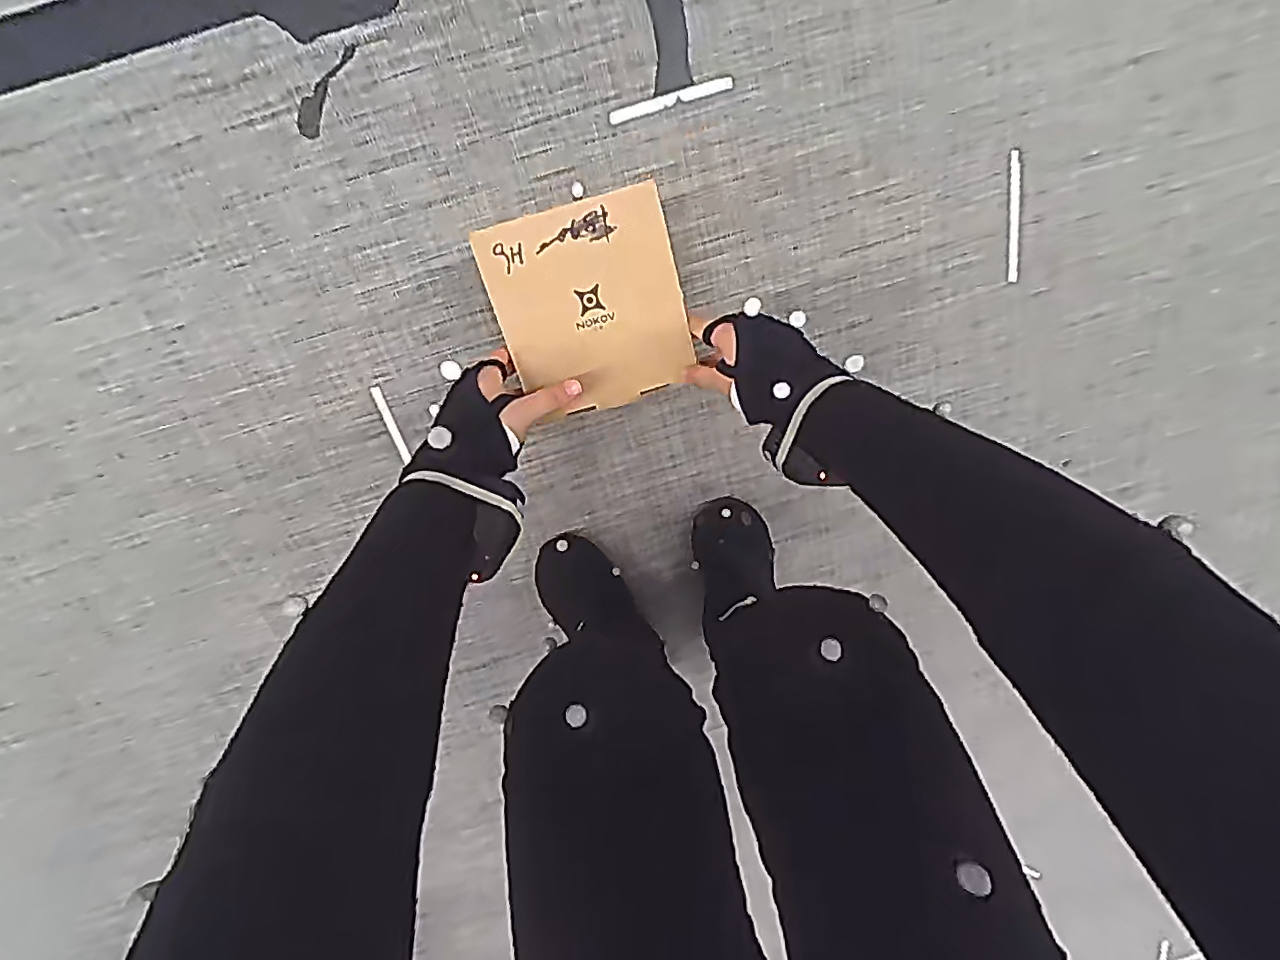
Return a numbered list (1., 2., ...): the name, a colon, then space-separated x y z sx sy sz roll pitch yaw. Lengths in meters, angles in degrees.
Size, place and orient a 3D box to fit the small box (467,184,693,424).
1. small box: -0.054 -0.180 0.551 0.168 0.176 0.179 -15 114 -1
